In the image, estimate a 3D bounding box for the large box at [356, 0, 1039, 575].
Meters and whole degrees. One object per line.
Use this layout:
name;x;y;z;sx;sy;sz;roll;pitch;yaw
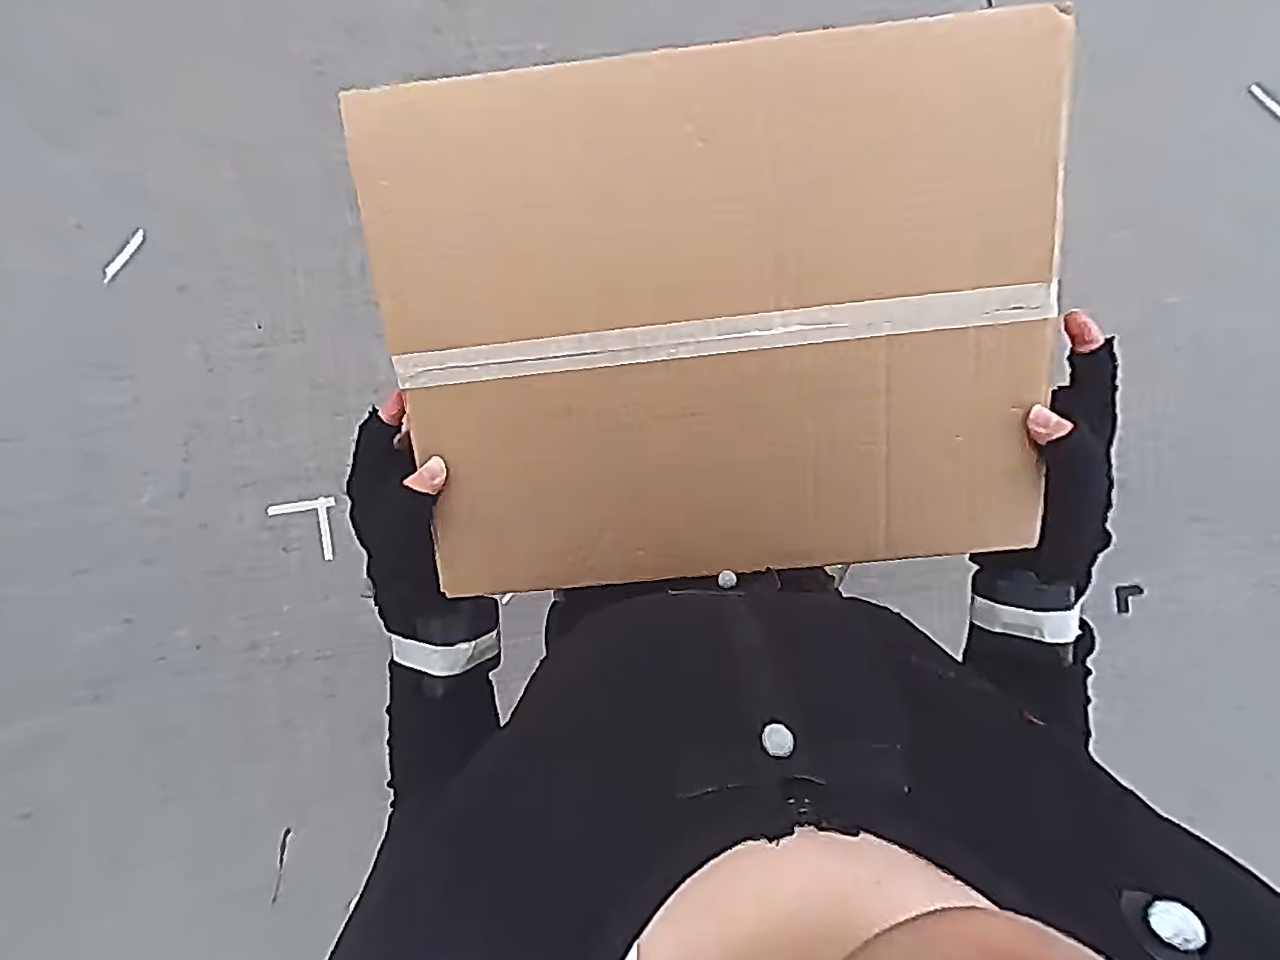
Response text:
large box;0.045;-0.134;0.489;0.408;0.320;0.320;-6;104;2
